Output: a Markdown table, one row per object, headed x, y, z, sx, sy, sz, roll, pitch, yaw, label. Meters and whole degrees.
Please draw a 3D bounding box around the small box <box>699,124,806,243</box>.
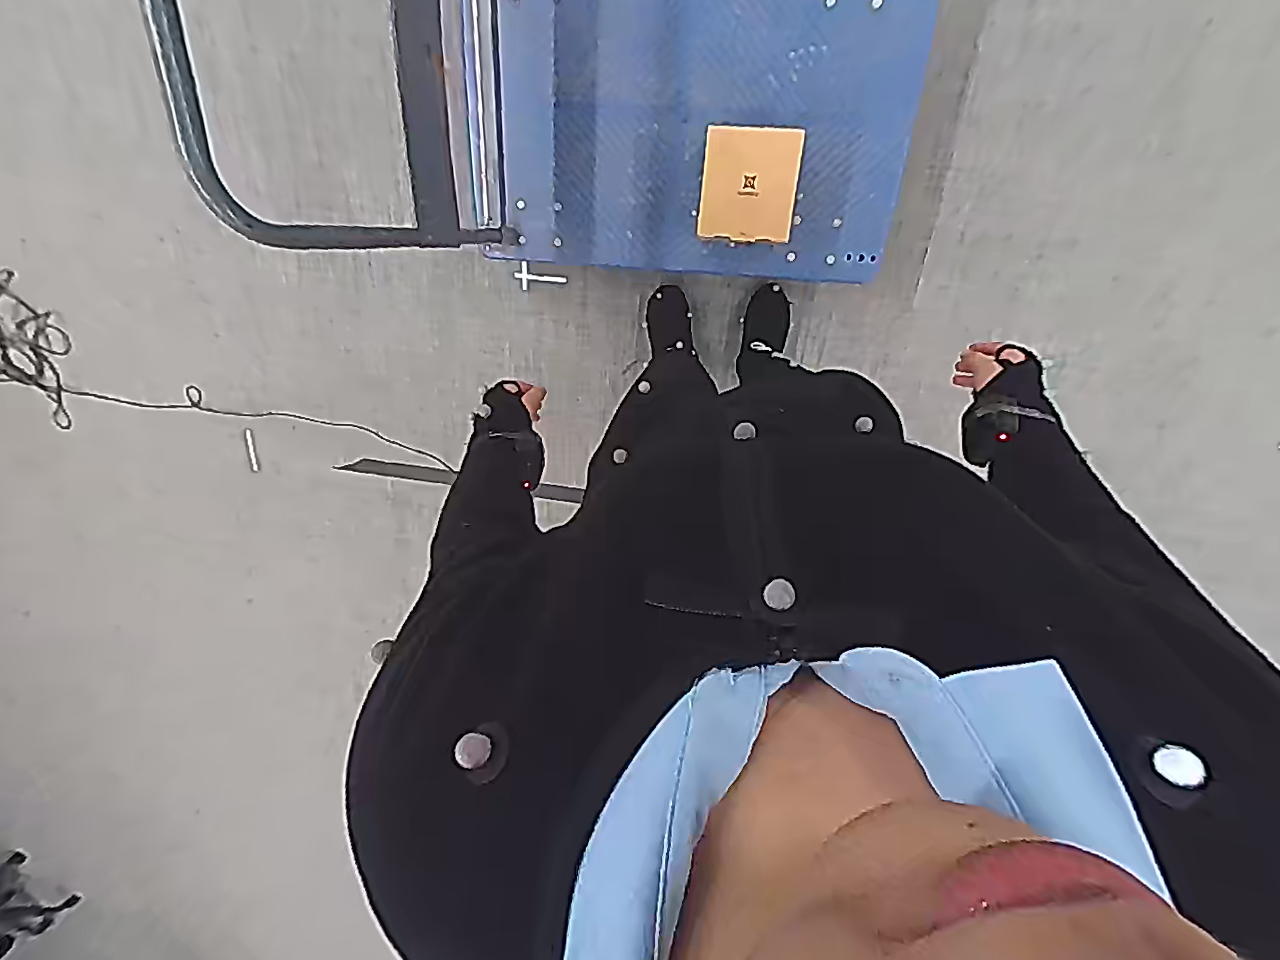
| x | y | z | sx | sy | sz | roll | pitch | yaw | label |
| --- | --- | --- | --- | --- | --- | --- | --- | --- | --- |
| 0.201 | -0.545 | 1.013 | 0.168 | 0.176 | 0.179 | 6 | 114 | 5 | small box |
